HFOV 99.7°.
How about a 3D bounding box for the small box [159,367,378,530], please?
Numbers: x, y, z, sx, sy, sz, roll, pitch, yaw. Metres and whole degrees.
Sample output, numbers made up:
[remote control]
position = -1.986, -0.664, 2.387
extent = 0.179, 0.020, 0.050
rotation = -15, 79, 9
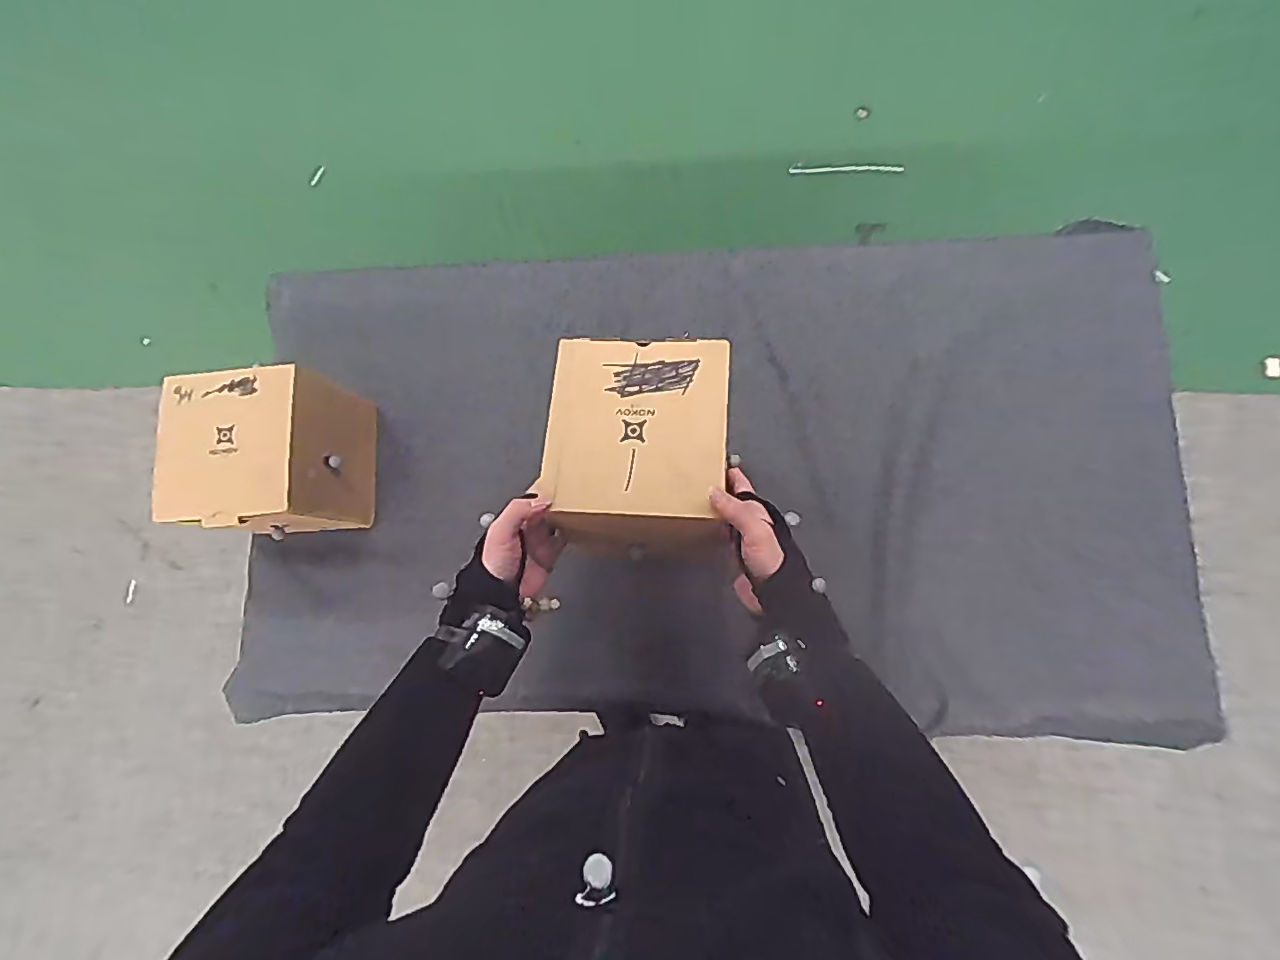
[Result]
[small box]
position = -0.458, -0.028, 0.692
extent = 0.168, 0.176, 0.179
rotation = -5, 81, 5
